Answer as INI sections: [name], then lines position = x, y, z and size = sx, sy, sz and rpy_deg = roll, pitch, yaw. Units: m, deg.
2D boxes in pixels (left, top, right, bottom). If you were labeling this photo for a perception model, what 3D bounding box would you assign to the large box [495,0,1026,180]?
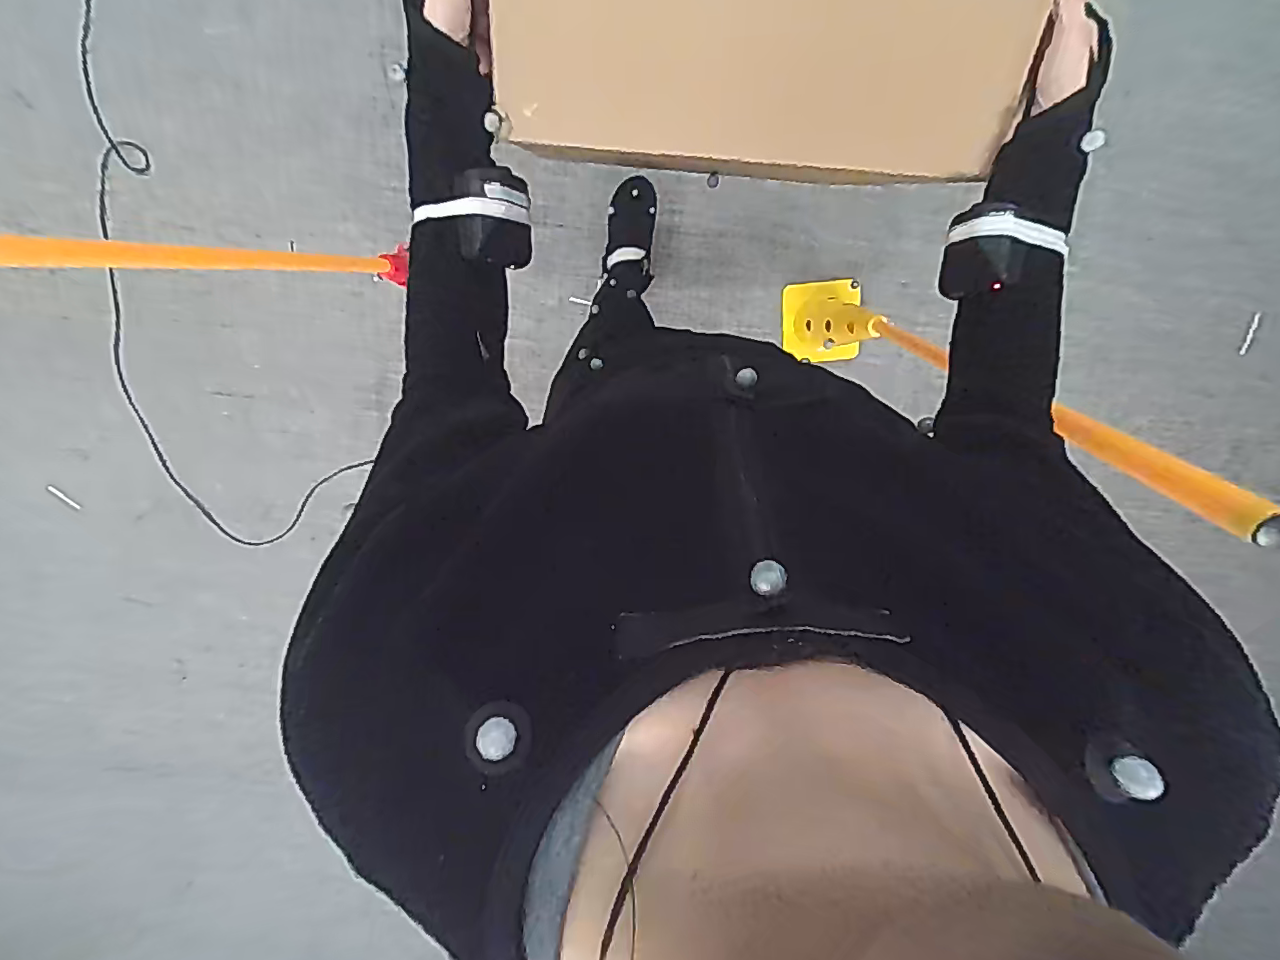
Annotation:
[large box]
position = 0.090, -0.467, 0.507
size = 0.408, 0.320, 0.320
rpy_deg = 2, 117, -4
